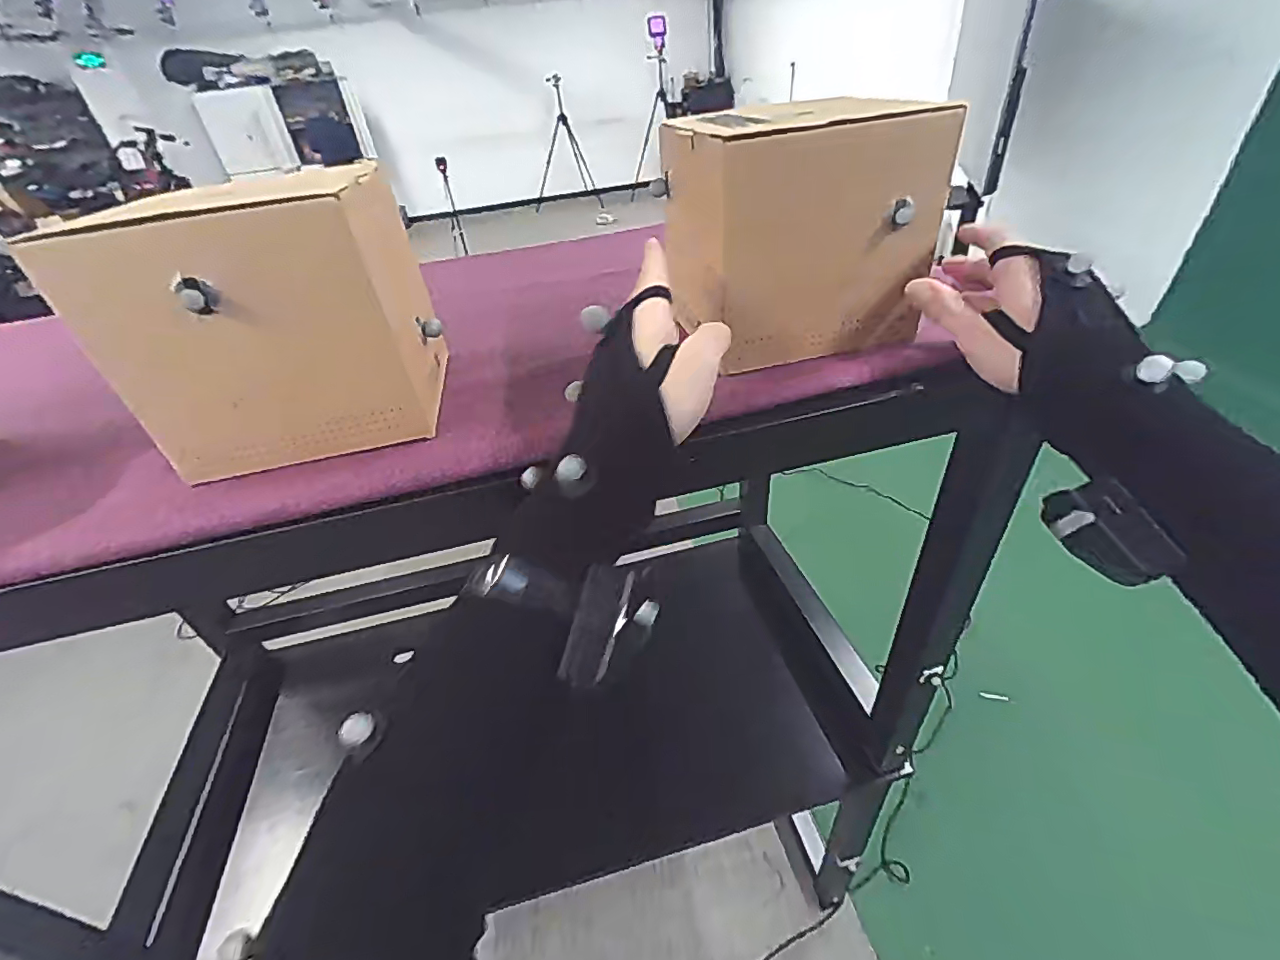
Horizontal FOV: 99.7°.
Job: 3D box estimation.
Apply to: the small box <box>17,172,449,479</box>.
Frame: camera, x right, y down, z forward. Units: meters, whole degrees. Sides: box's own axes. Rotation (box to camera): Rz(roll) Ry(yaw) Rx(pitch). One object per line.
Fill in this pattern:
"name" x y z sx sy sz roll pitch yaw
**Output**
"small box" -0.268 -0.120 0.416 0.179 0.176 0.168 -13 38 -5
